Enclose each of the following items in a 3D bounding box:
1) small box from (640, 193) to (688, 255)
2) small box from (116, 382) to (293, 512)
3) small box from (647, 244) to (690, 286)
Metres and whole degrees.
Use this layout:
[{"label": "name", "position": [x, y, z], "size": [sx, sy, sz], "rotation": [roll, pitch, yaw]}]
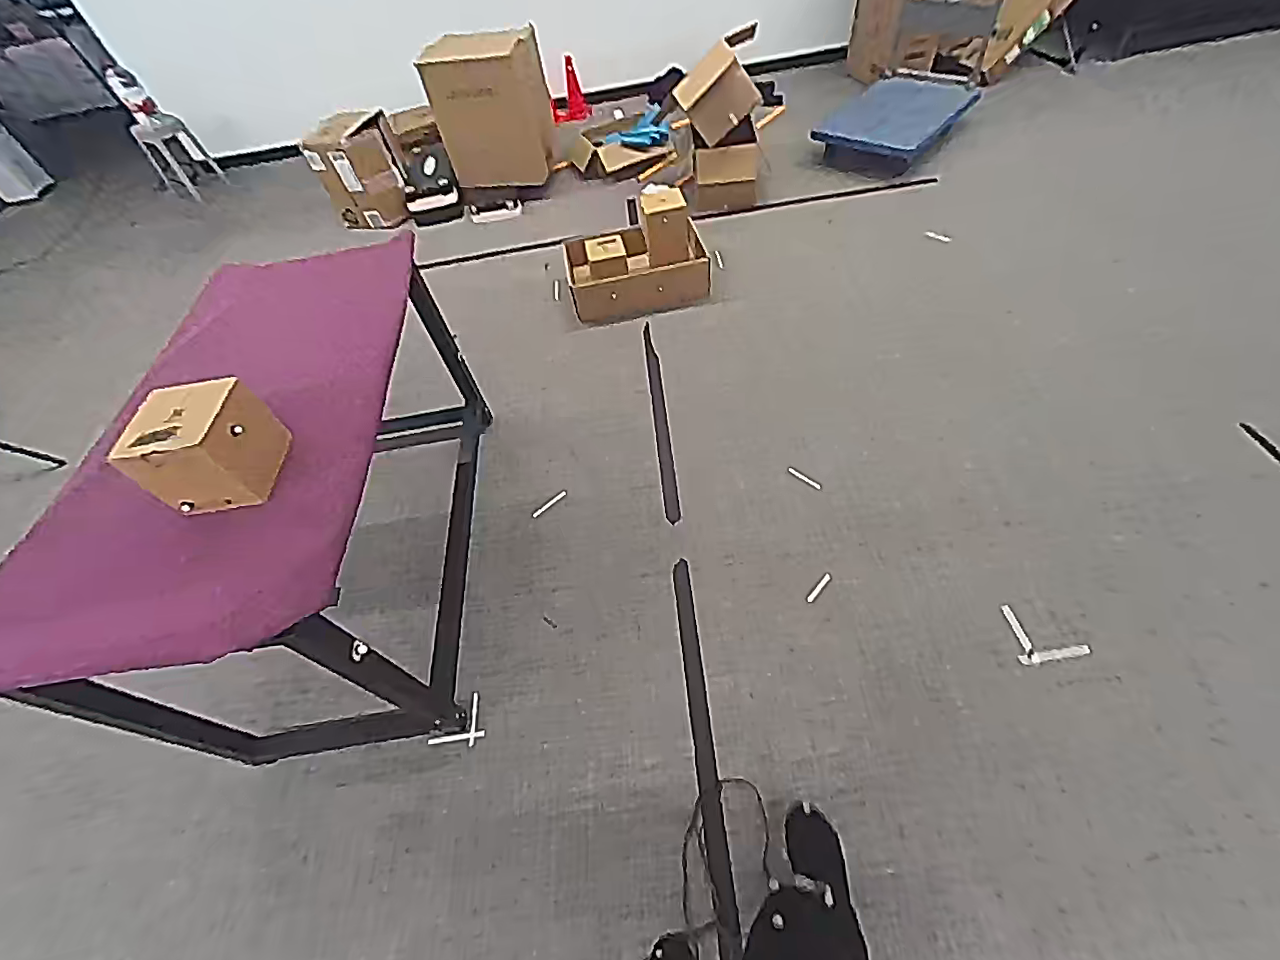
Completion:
[{"label": "small box", "position": [0.106, -1.101, 2.334], "size": [0.179, 0.176, 0.168], "rotation": [-12, 52, 1]}, {"label": "small box", "position": [-0.796, -0.055, 1.015], "size": [0.168, 0.176, 0.179], "rotation": [-8, 51, 2]}, {"label": "small box", "position": [0.130, -1.005, 2.463], "size": [0.168, 0.176, 0.179], "rotation": [-11, 51, 0]}]
